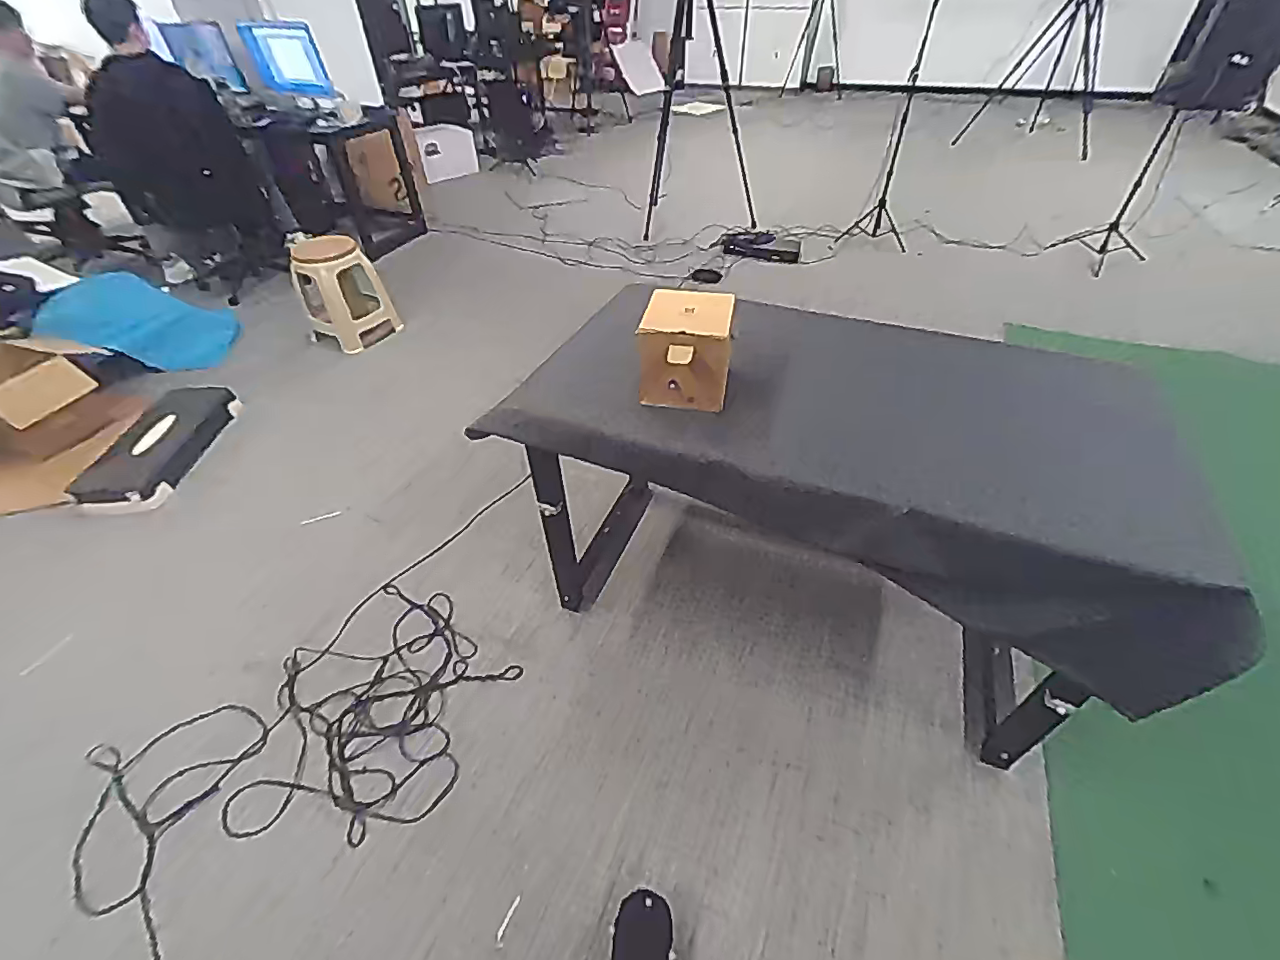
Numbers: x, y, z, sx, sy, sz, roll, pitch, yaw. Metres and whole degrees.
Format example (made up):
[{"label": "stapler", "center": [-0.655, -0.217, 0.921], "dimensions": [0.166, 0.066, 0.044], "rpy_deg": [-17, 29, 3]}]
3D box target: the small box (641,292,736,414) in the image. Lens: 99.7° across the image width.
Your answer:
[{"label": "small box", "center": [0.096, -0.256, 1.084], "dimensions": [0.168, 0.176, 0.179], "rpy_deg": [7, 44, 9]}]
